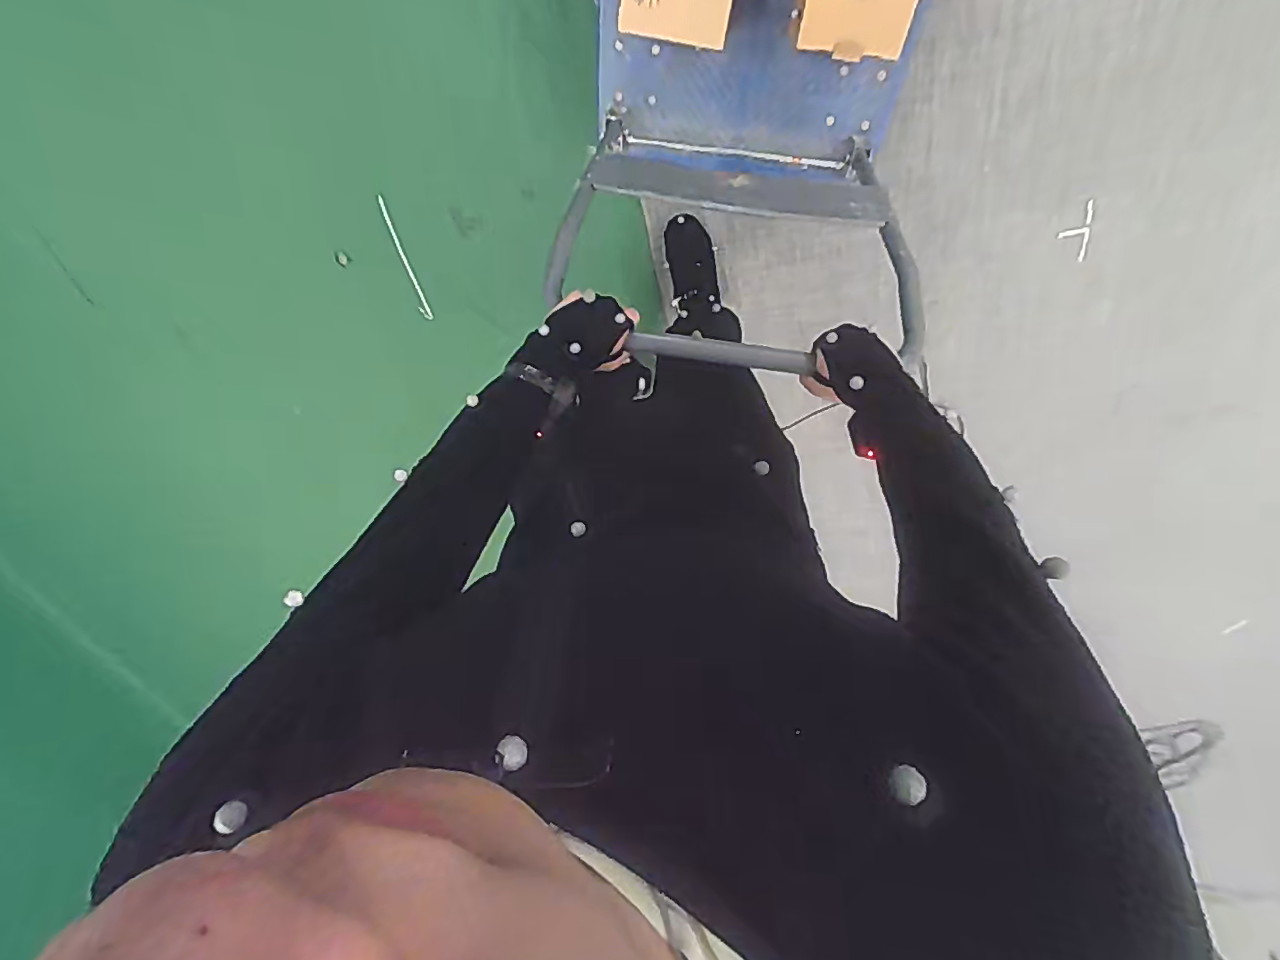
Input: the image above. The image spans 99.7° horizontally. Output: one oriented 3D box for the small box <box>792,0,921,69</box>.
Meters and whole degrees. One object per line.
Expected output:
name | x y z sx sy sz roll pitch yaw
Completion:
small box | 0.346 -0.782 0.855 0.168 0.176 0.179 8 136 1
